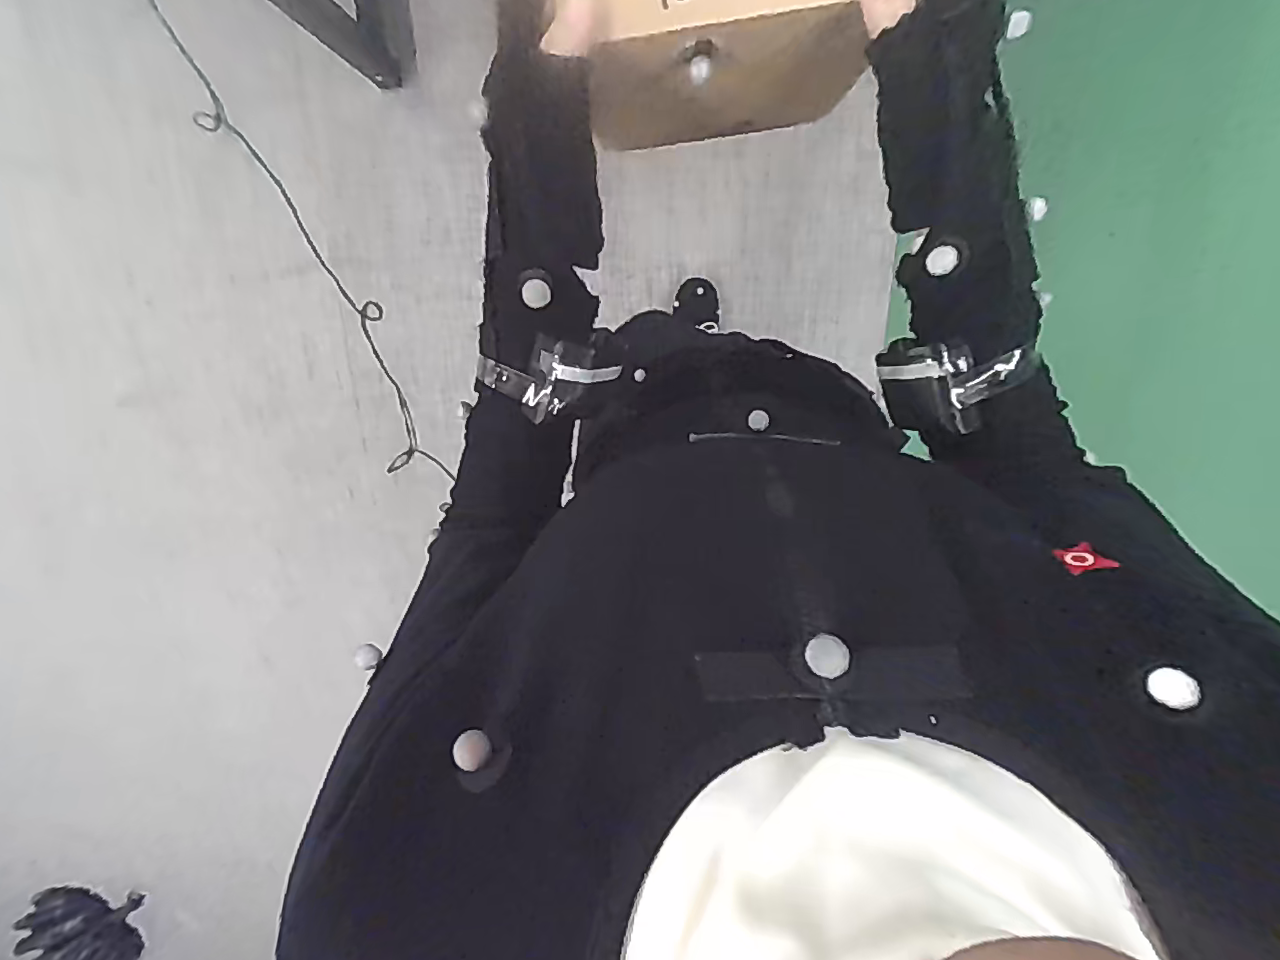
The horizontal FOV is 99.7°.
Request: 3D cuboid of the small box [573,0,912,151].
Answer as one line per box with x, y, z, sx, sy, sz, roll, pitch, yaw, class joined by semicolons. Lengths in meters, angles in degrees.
0.040;-0.317;0.300;0.168;0.176;0.179;-9;106;4;small box
